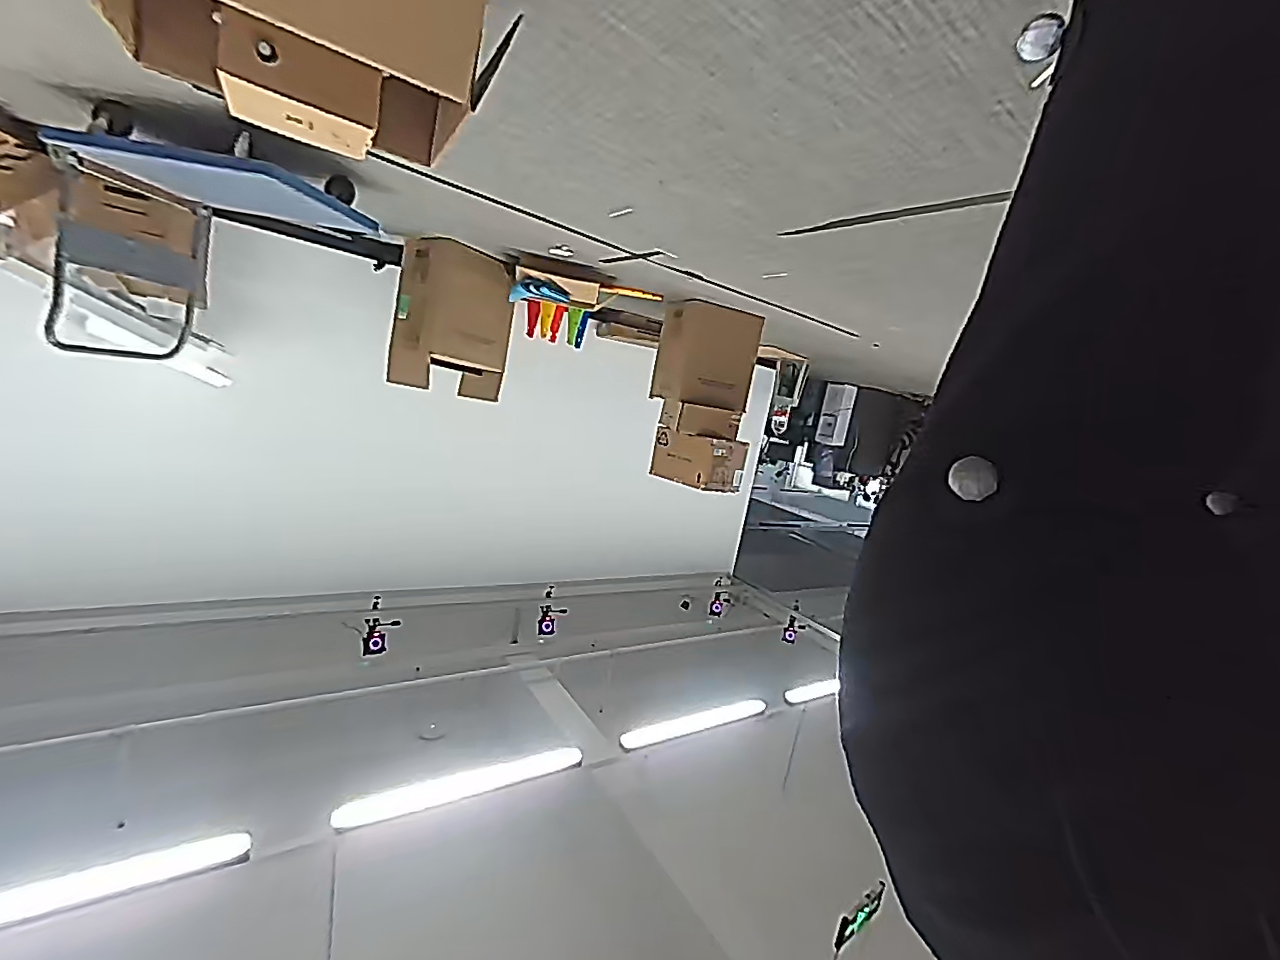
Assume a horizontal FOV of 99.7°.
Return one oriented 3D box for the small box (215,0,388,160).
[{"bbox_3d":[-0.462,-0.583,0.746,0.179,0.176,0.168,5,-169,-33],"label":"small box"}]
